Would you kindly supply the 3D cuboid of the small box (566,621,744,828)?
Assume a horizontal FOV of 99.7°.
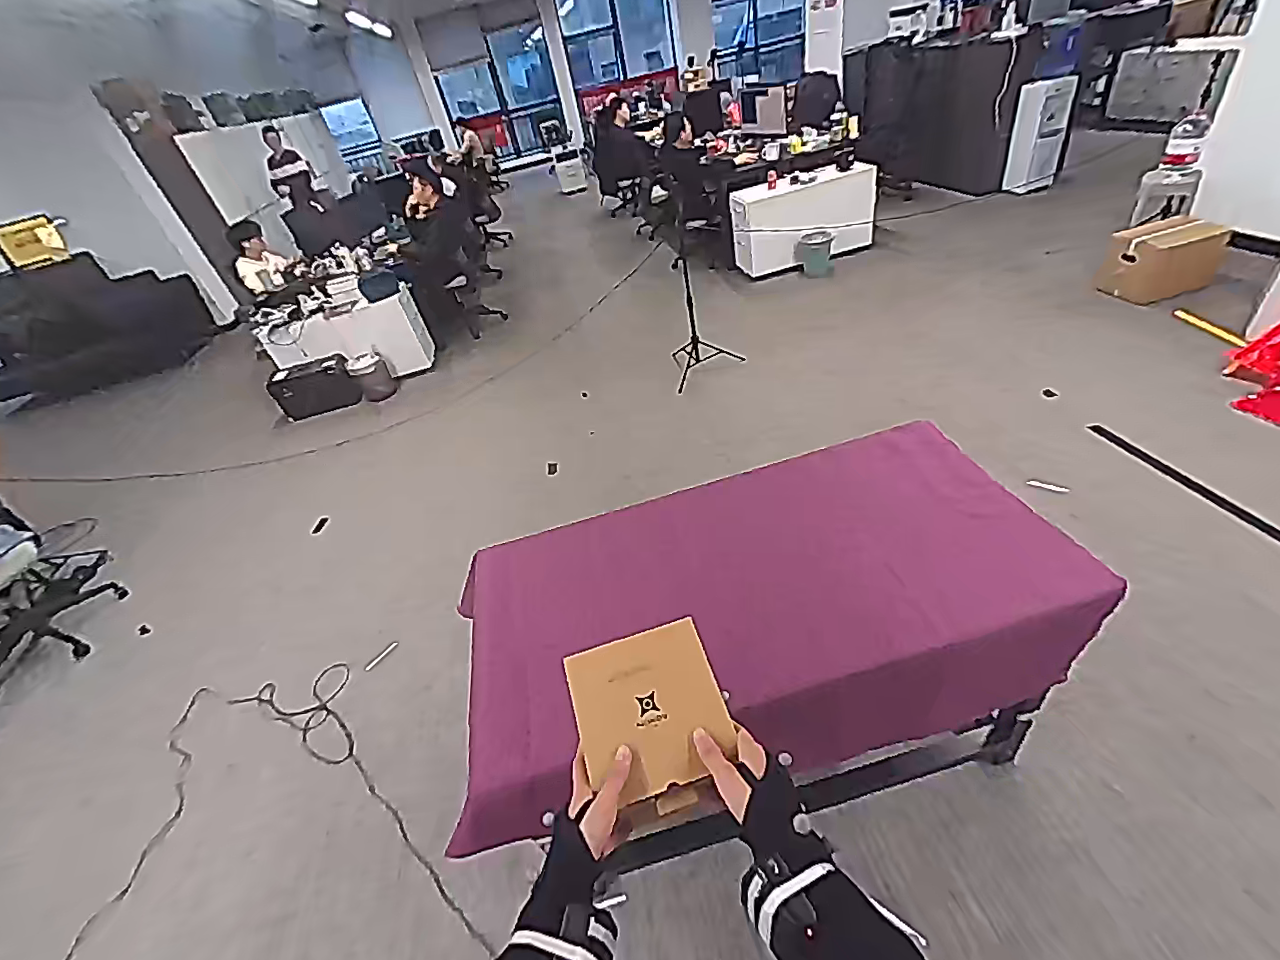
[{"bbox_3d":[0.018,0.306,0.665,0.168,0.176,0.179,-15,51,-7],"label":"small box"}]
